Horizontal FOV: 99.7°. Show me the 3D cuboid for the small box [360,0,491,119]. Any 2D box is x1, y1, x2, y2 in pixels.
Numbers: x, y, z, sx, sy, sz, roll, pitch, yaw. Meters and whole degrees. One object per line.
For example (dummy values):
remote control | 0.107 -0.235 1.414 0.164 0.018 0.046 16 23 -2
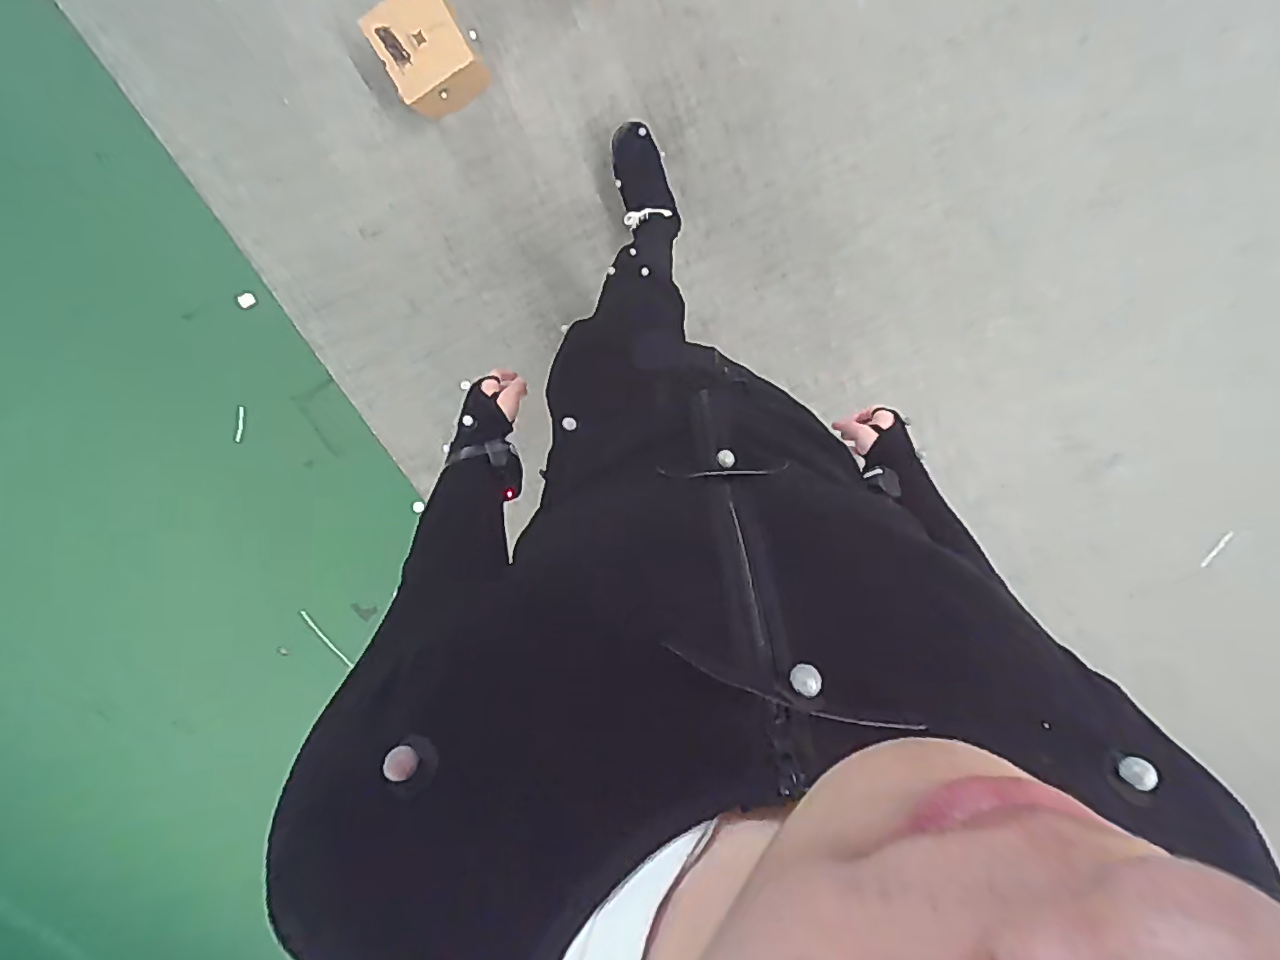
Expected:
small box | -0.452 -0.922 1.171 0.179 0.176 0.168 -26 111 10
